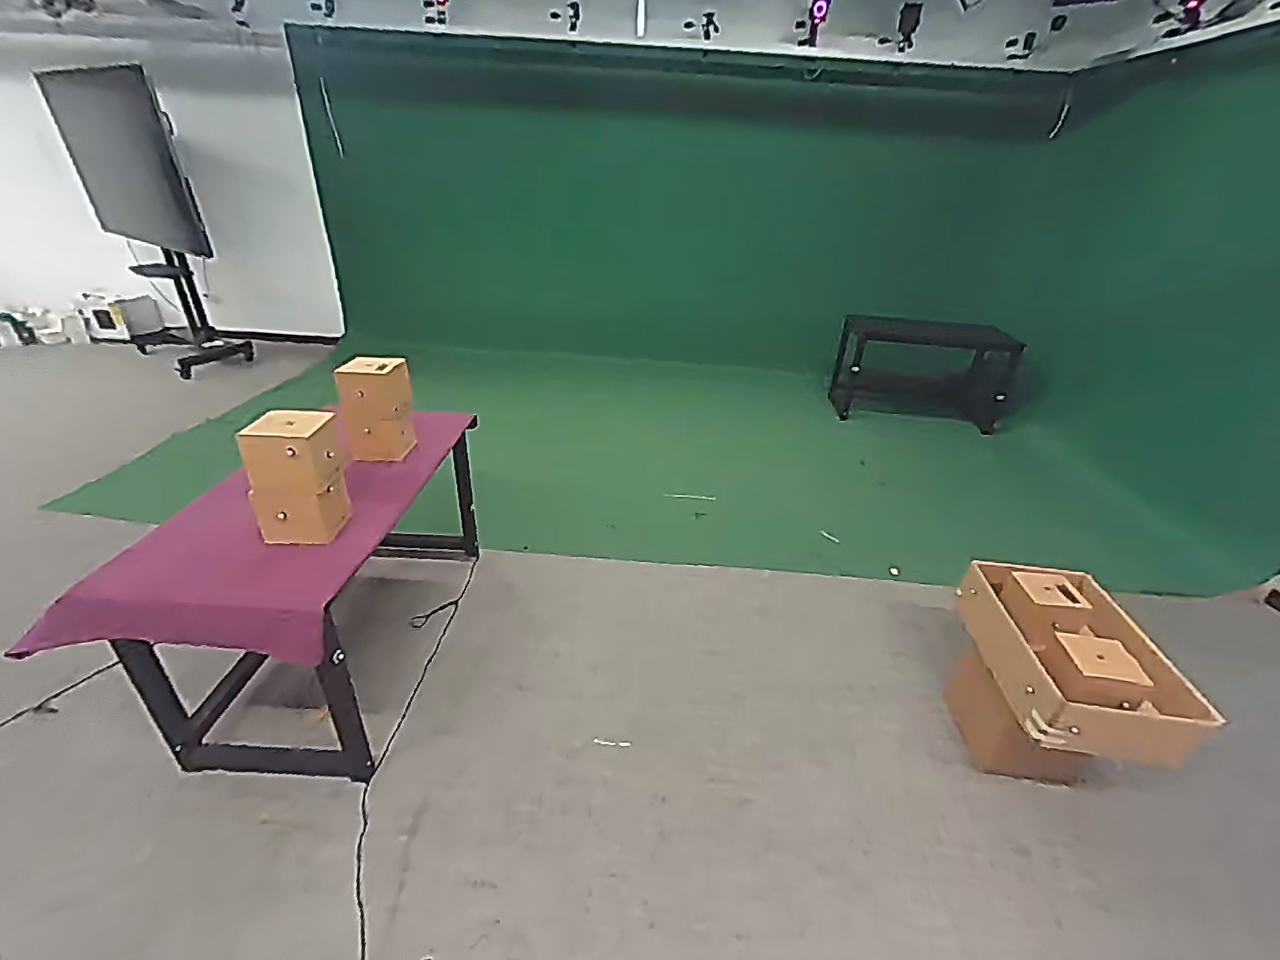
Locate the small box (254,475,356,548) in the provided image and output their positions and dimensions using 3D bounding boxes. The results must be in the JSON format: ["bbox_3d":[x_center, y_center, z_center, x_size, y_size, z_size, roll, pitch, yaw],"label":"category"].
[{"bbox_3d":[-0.946,0.082,1.546,0.179,0.176,0.168,1,30,-4],"label":"small box"}]

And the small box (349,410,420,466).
[{"bbox_3d":[-0.926,-0.160,1.981,0.179,0.176,0.168,2,30,0],"label":"small box"}]

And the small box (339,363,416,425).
[{"bbox_3d":[-0.911,-0.302,1.899,0.179,0.176,0.168,3,29,3],"label":"small box"}]

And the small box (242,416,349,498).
[{"bbox_3d":[-0.920,-0.062,1.467,0.179,0.176,0.168,2,28,-3],"label":"small box"}]
